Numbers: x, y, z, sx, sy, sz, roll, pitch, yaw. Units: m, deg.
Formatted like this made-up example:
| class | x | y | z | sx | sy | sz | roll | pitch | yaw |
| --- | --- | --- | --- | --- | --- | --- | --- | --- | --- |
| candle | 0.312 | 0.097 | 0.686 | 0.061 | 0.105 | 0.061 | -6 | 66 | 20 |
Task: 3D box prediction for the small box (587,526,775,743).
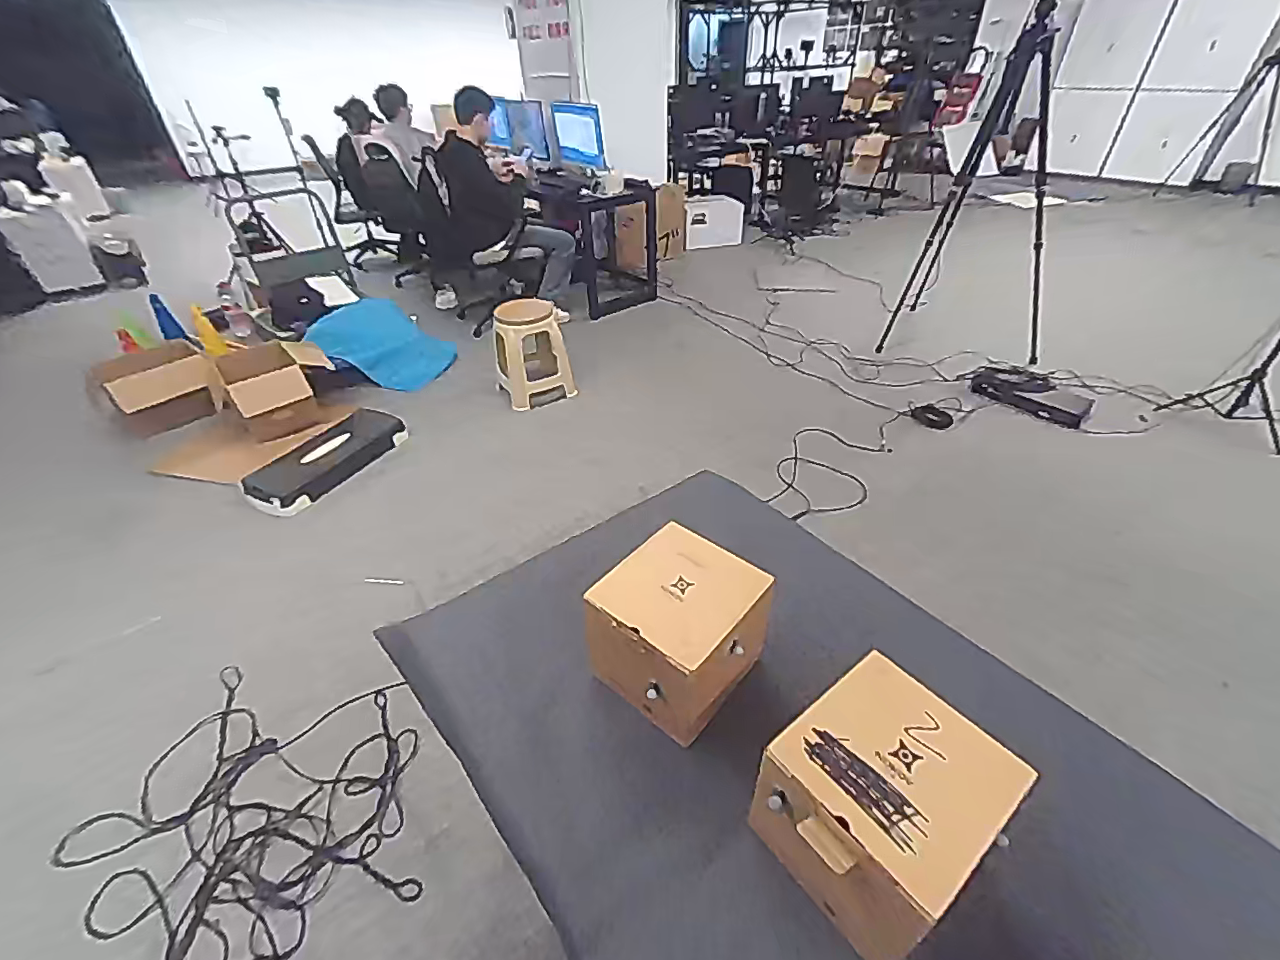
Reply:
| class | x | y | z | sx | sy | sz | roll | pitch | yaw |
| --- | --- | --- | --- | --- | --- | --- | --- | --- | --- |
| small box | 0.053 | 0.198 | 0.704 | 0.168 | 0.176 | 0.179 | 28 | 45 | 32 |
